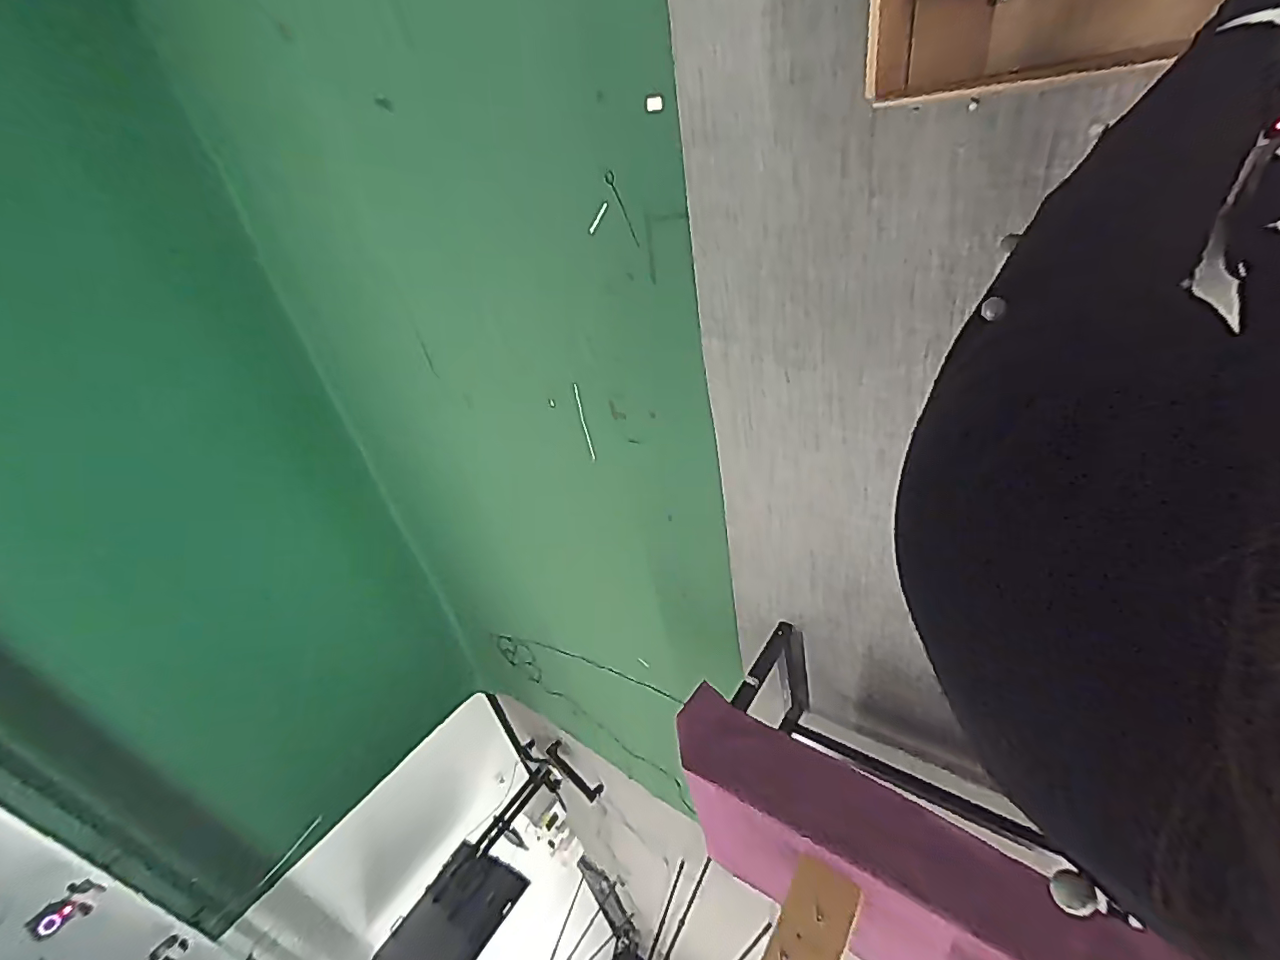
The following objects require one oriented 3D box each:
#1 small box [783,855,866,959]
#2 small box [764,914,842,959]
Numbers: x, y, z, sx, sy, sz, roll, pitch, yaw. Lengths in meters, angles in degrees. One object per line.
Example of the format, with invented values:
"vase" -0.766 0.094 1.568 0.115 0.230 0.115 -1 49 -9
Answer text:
"small box" 0.517 1.207 1.515 0.179 0.176 0.168 18 132 35
"small box" 0.419 1.298 1.421 0.168 0.176 0.179 19 133 35
